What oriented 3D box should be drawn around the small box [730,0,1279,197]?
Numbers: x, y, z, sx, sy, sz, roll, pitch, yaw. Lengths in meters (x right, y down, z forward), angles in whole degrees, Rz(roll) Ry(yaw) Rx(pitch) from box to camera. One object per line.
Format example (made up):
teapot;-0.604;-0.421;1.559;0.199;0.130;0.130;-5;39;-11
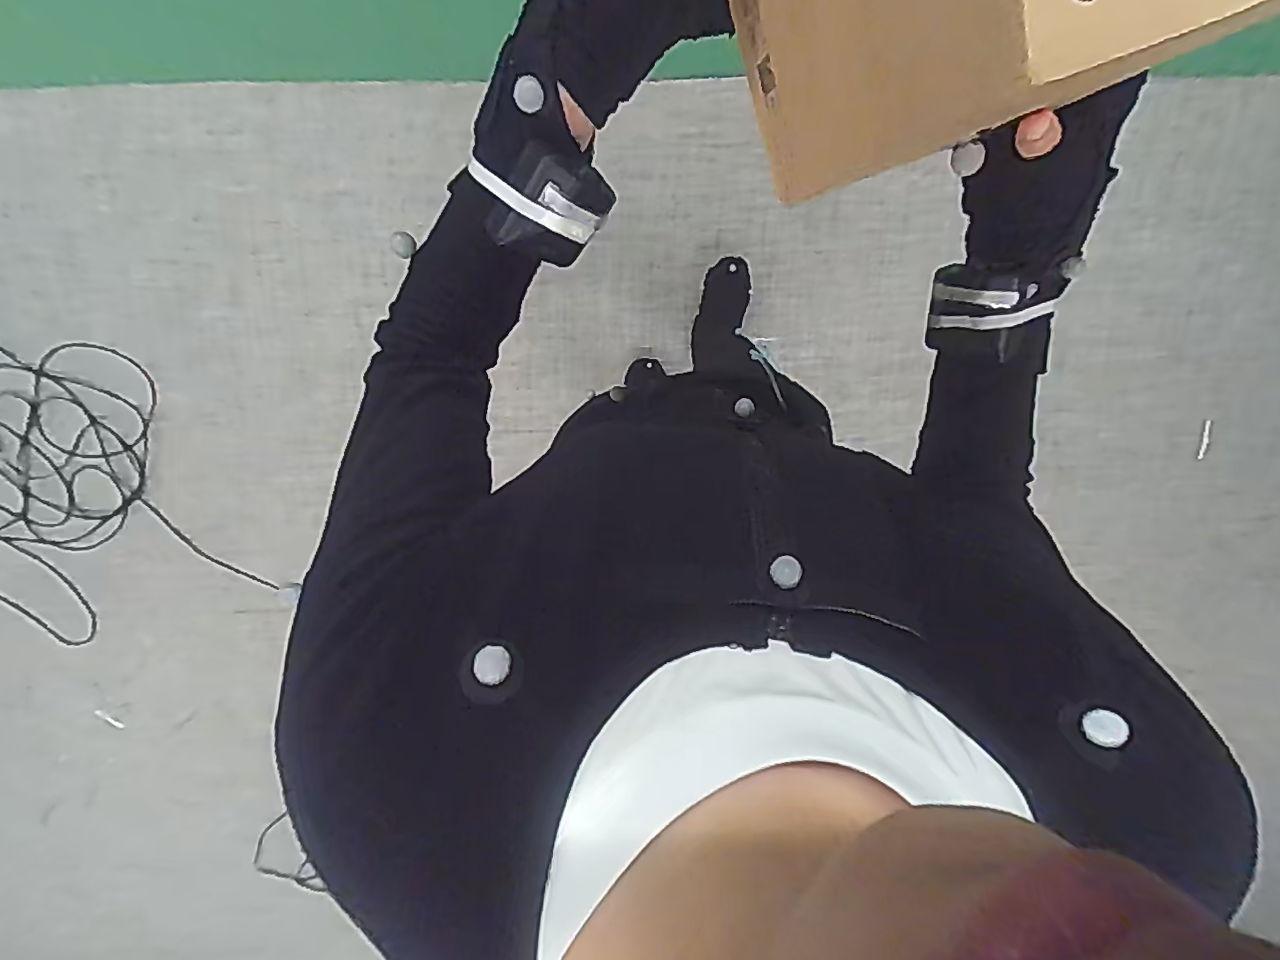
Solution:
small box;0.147;-0.237;0.210;0.179;0.176;0.168;-22;108;-5
